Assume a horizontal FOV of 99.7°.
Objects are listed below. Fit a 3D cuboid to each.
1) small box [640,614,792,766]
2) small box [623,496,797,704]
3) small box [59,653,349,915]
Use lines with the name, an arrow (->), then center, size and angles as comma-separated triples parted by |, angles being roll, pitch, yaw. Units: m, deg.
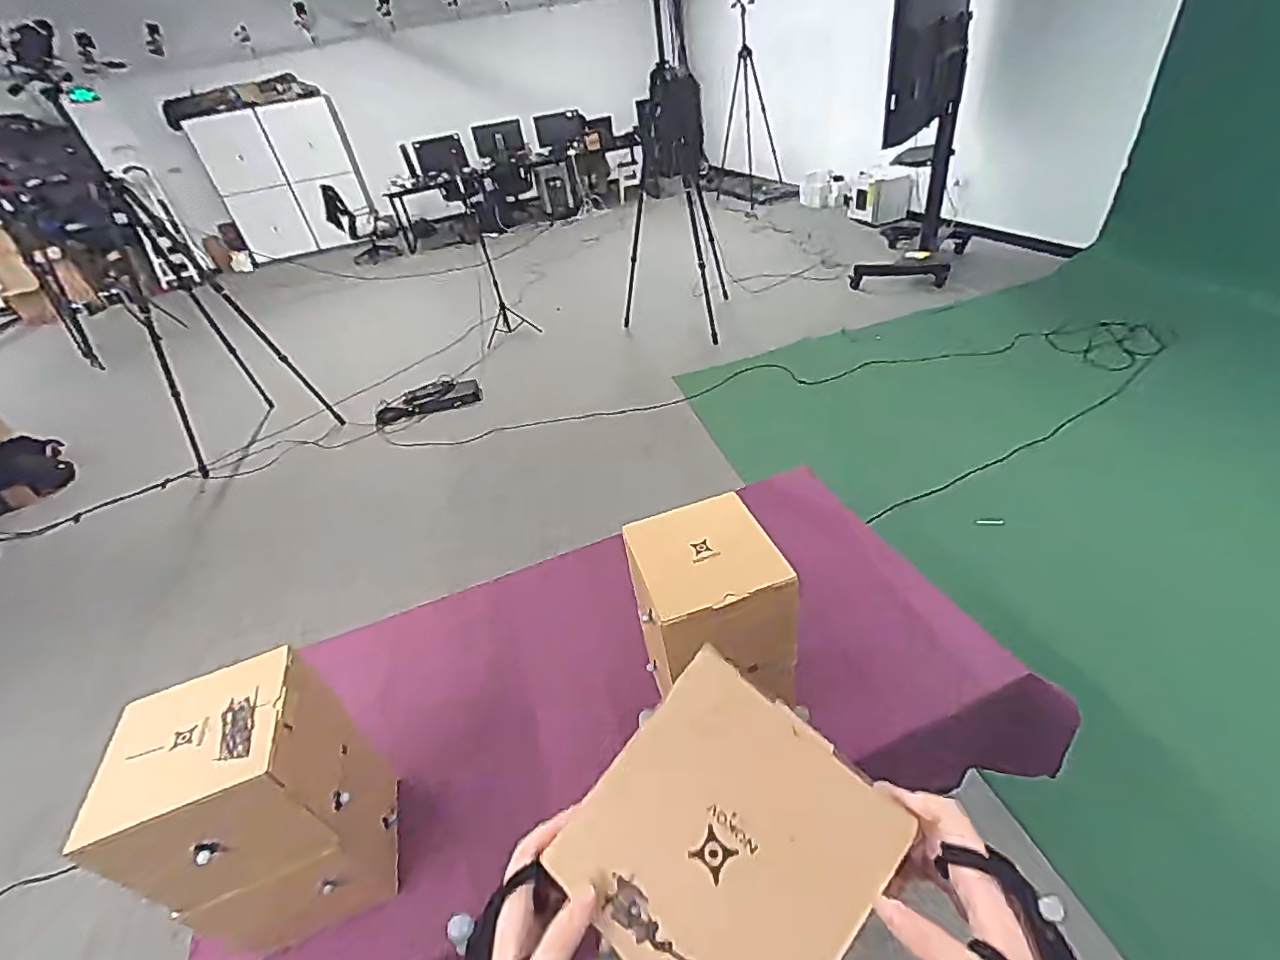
small box -> 0.109, 0.282, 0.804 | 0.168, 0.176, 0.179 | -18, 38, -8
small box -> 0.087, 0.153, 0.707 | 0.168, 0.176, 0.179 | -17, 38, -8
small box -> -0.451, 0.334, 0.603 | 0.179, 0.176, 0.168 | -20, 38, -12
